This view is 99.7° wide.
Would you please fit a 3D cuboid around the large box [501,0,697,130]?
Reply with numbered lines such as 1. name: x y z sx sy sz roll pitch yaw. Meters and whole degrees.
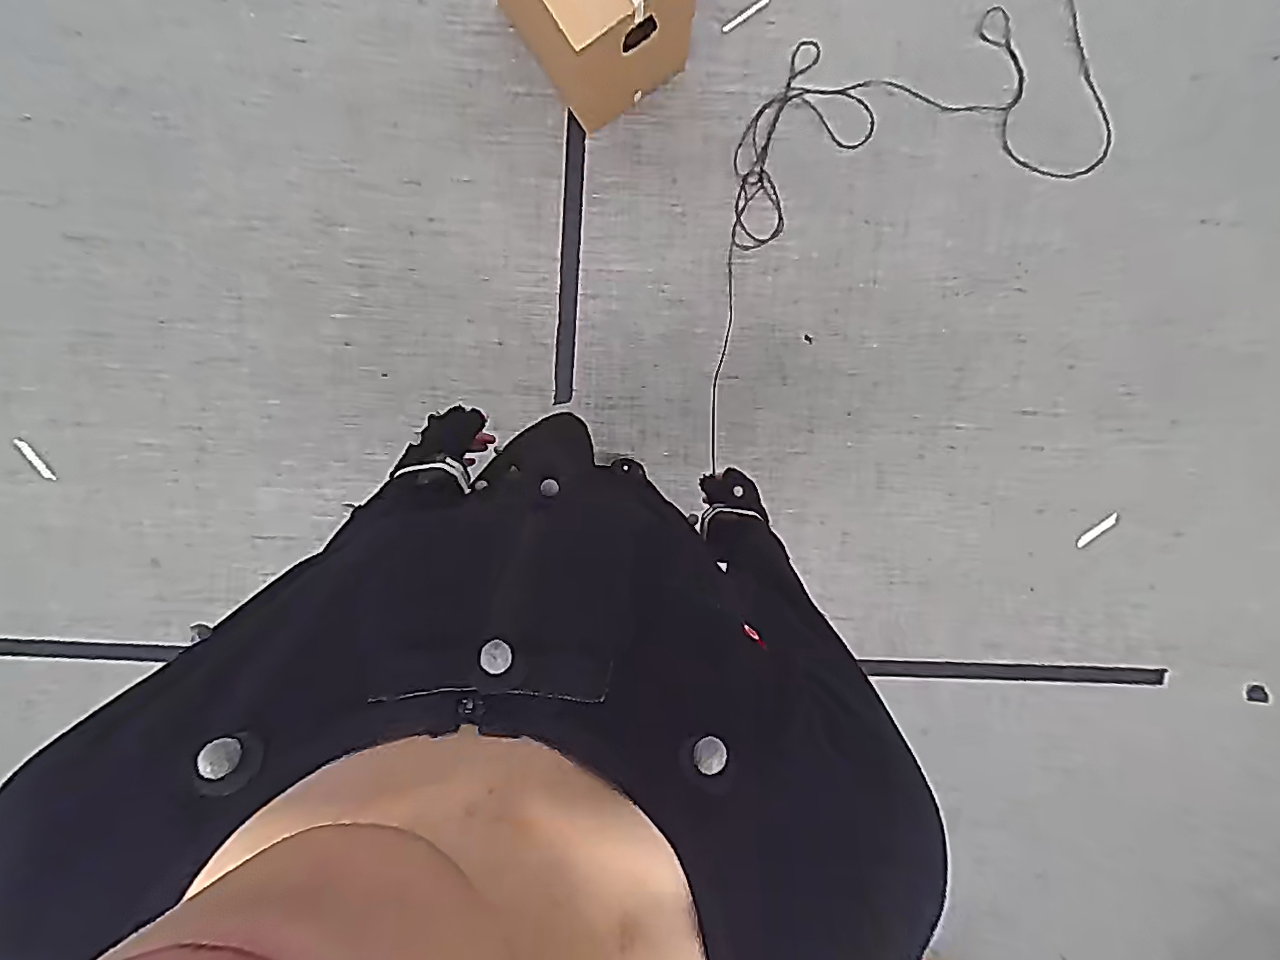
1. large box: -0.114 -1.134 1.234 0.320 0.320 0.408 -35 95 2
